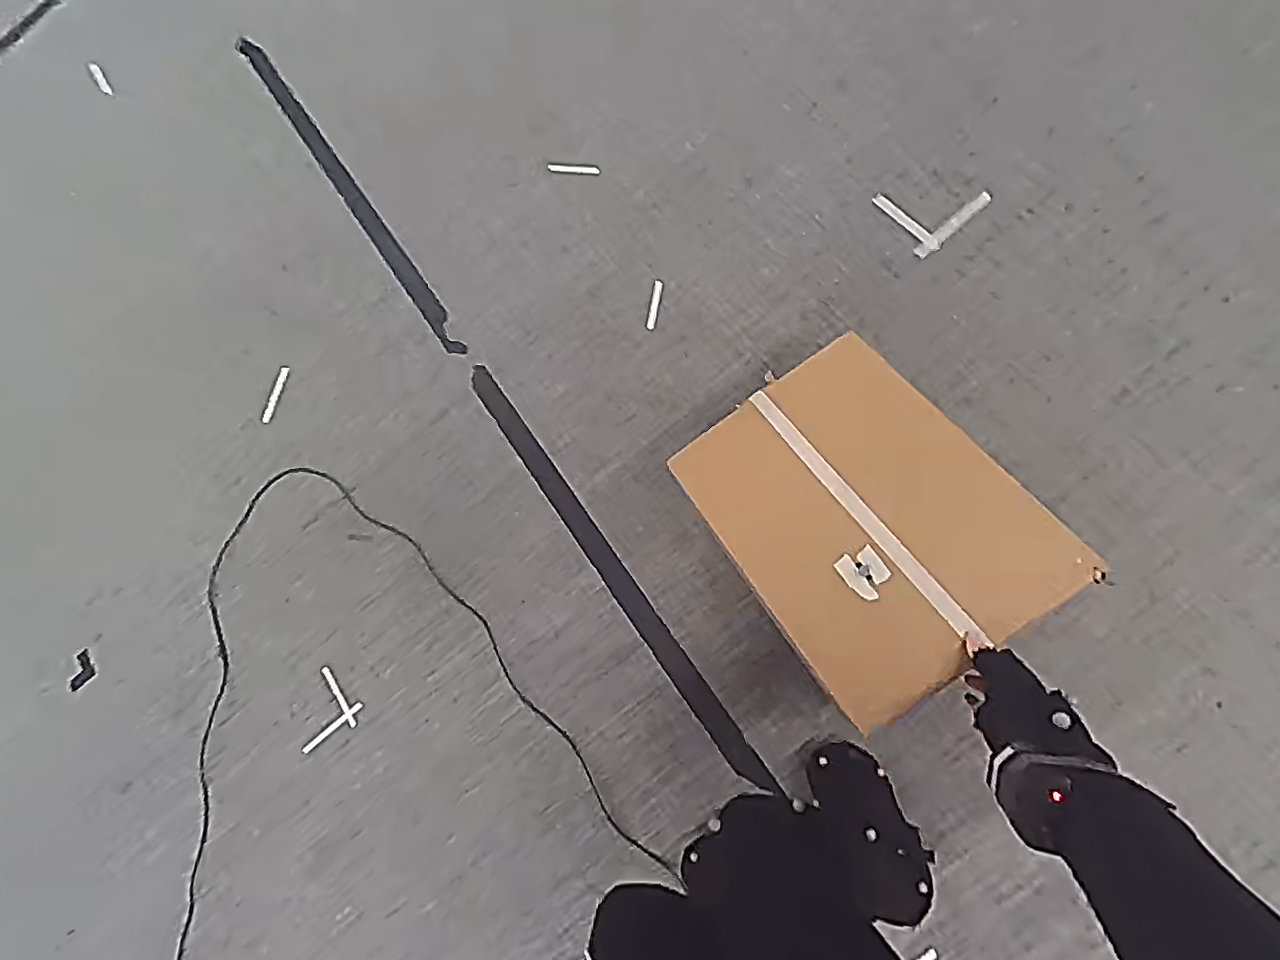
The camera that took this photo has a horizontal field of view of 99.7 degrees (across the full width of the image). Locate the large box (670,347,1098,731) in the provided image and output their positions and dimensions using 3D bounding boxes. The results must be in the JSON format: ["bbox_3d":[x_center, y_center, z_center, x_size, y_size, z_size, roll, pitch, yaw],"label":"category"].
[{"bbox_3d":[0.303,0.094,0.796,0.320,0.320,0.408,-36,63,2],"label":"large box"}]
